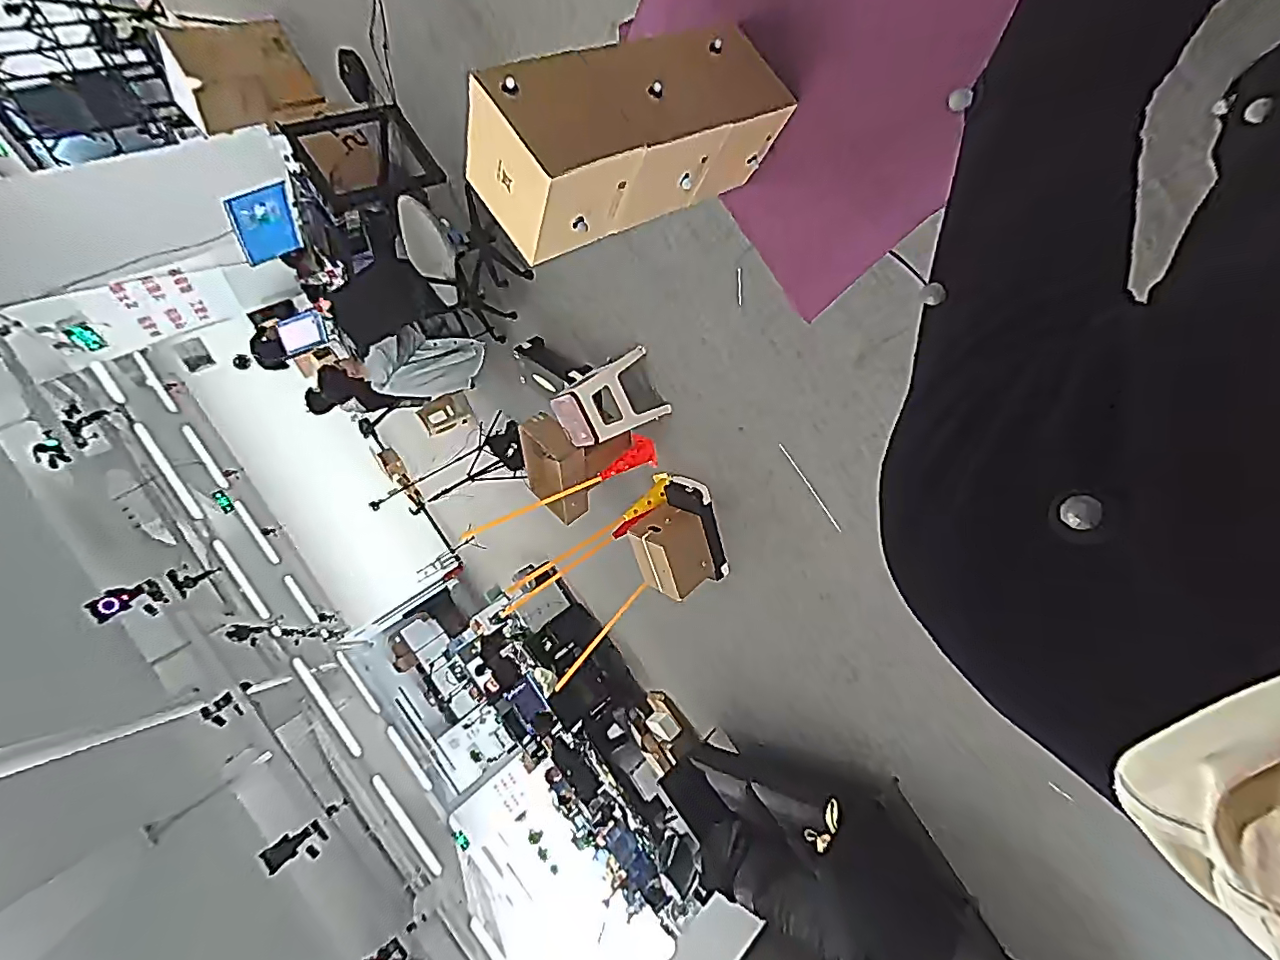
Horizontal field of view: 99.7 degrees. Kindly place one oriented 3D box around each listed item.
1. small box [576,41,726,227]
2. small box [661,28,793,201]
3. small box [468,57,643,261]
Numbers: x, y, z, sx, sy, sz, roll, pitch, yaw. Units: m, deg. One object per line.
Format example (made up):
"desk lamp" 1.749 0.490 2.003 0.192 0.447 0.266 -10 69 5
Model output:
"small box" -0.003 -0.538 0.842 0.179 0.176 0.168 54 154 3
"small box" 0.118 -0.619 0.916 0.179 0.176 0.168 54 153 2
"small box" -0.122 -0.456 0.769 0.179 0.176 0.168 54 154 4
